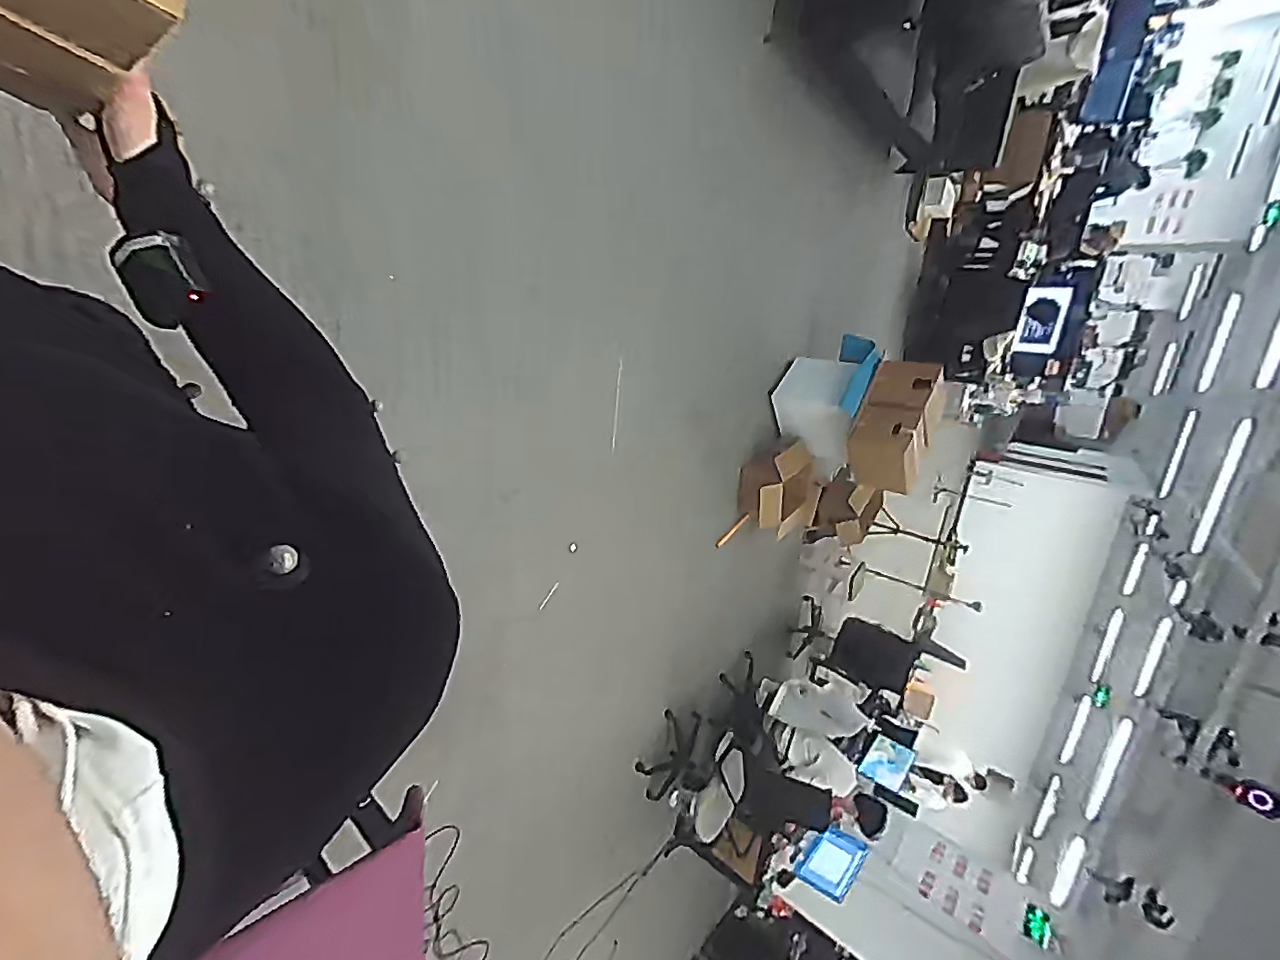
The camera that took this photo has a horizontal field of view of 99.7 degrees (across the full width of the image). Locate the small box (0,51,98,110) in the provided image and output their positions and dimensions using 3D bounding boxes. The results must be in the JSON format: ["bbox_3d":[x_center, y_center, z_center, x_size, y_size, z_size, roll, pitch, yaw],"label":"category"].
[{"bbox_3d":[-0.540,-0.431,0.431,0.179,0.176,0.168,16,97,-53],"label":"small box"}]

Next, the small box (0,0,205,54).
[{"bbox_3d":[-0.299,-0.328,0.233,0.179,0.176,0.168,10,101,-51],"label":"small box"}]

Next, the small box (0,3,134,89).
[{"bbox_3d":[-0.420,-0.380,0.332,0.179,0.176,0.168,12,100,-51],"label":"small box"}]
